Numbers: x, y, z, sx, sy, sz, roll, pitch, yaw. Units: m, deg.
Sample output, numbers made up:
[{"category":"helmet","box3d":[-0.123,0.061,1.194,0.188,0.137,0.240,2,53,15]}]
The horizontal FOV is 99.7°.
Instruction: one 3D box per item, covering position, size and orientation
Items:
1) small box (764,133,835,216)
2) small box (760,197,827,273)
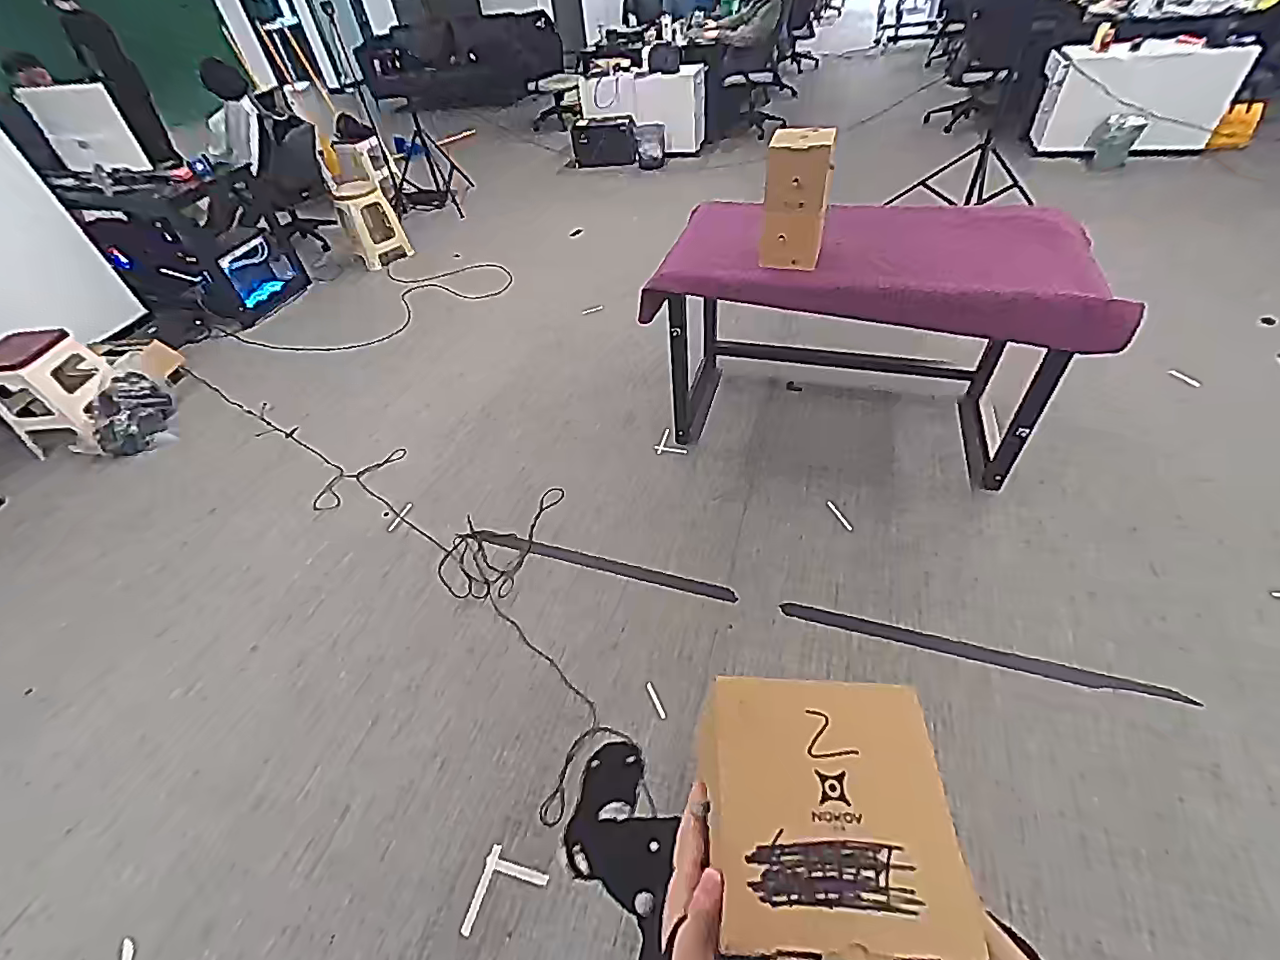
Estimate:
[{"category":"small box","box3d":[0.450,-0.866,1.537,0.168,0.176,0.179,10,48,15]},{"category":"small box","box3d":[0.465,-0.747,1.649,0.168,0.176,0.179,11,47,17]}]
